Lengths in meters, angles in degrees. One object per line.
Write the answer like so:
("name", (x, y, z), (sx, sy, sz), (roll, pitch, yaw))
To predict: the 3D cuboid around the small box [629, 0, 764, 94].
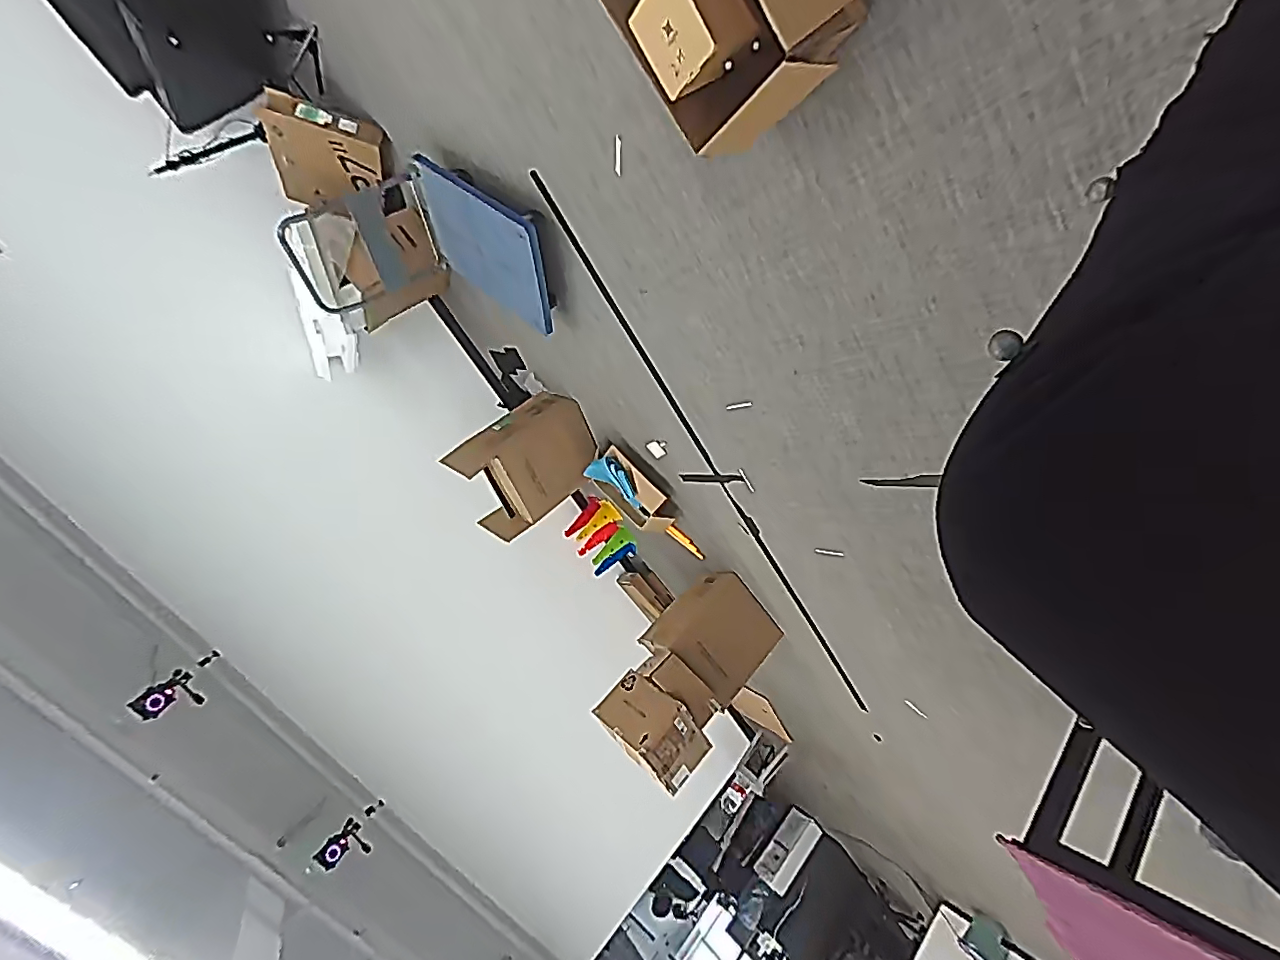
("small box", (0.117, -0.949, 1.104), (0.179, 0.176, 0.168), (55, 157, -16))
